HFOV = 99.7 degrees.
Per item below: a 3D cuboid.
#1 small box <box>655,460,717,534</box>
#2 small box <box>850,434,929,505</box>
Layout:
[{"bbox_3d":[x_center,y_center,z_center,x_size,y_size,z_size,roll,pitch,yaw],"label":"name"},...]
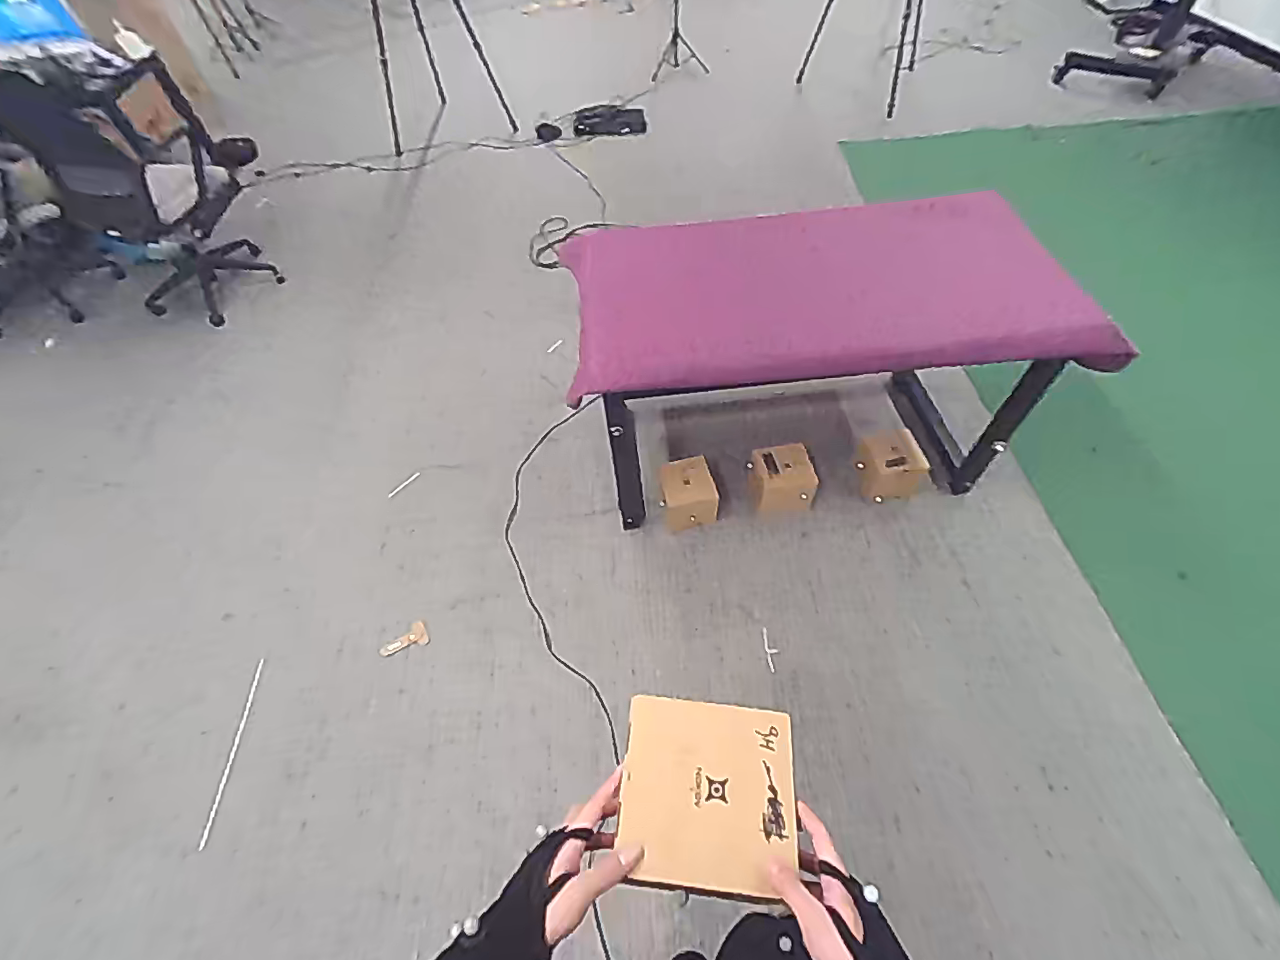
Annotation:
[{"bbox_3d":[0.153,0.064,1.800,0.168,0.176,0.179,-12,54,-5],"label":"small box"},{"bbox_3d":[0.832,-0.029,1.822,0.168,0.176,0.179,-7,53,-2],"label":"small box"}]
